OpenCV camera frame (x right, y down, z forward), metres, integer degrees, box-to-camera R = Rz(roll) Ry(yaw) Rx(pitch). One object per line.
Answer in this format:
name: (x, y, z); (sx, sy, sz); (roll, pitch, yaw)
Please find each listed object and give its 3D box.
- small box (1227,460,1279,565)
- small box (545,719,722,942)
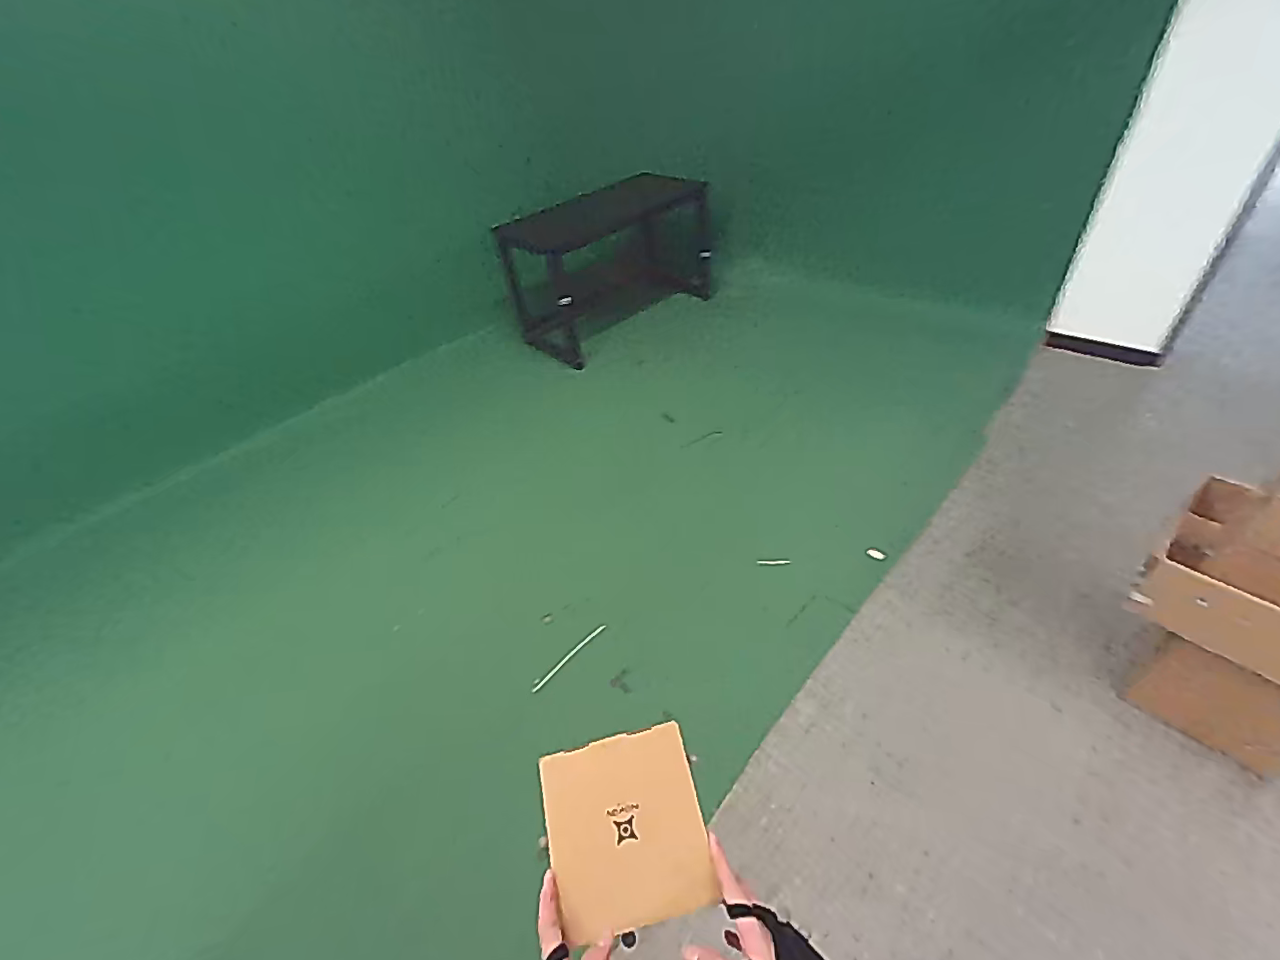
small box: (1.398, 0.078, 1.132); (0.179, 0.176, 0.168); (-37, 49, -26)
small box: (-0.008, 0.410, 0.643); (0.168, 0.176, 0.179); (-12, 54, -5)
